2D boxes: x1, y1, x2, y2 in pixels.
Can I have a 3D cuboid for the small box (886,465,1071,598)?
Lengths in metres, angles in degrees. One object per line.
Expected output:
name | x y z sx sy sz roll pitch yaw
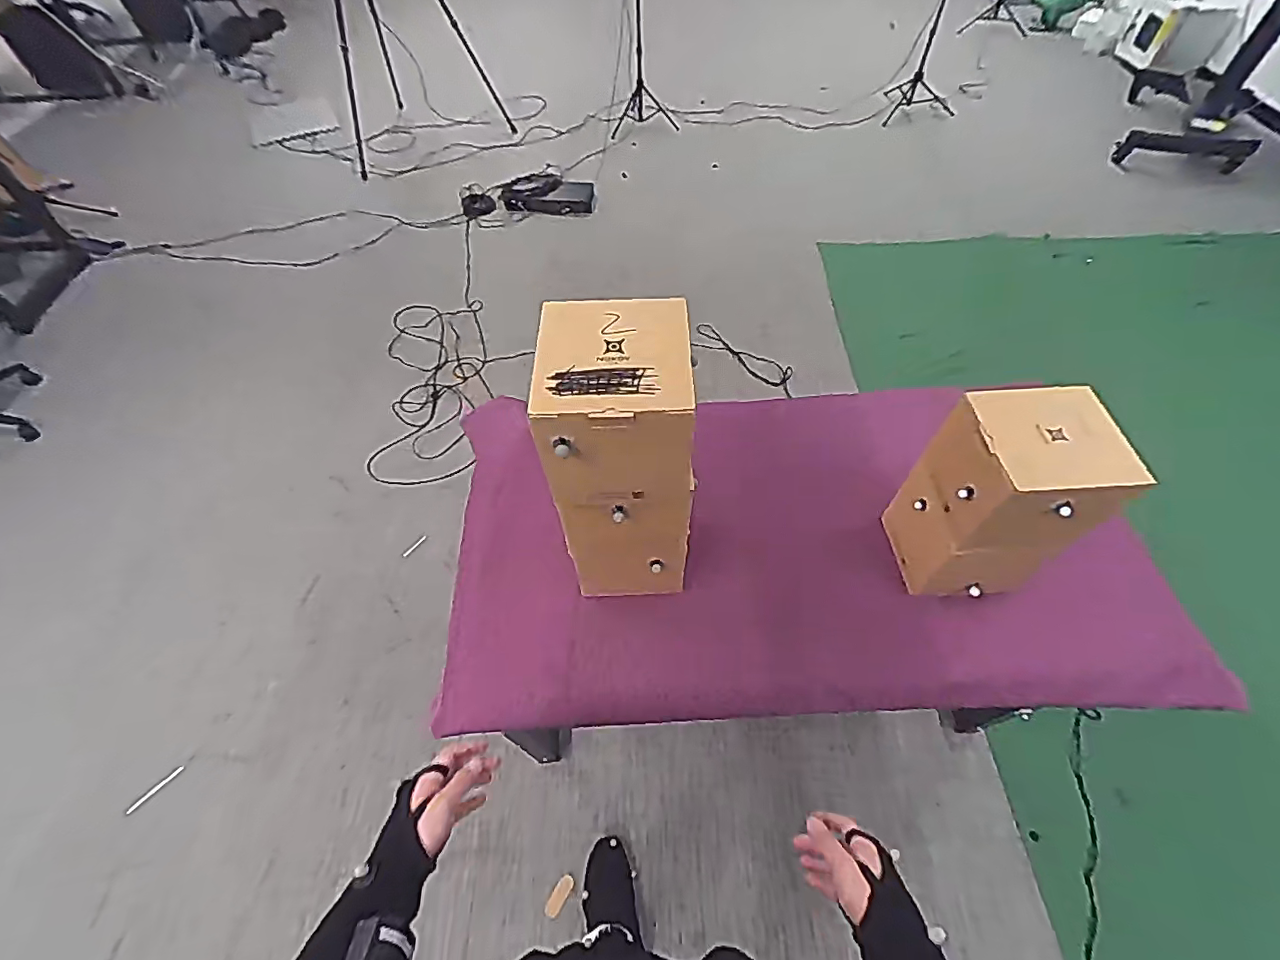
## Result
small box | 0.543 0.085 0.897 0.179 0.176 0.168 -4 55 0

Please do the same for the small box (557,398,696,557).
small box | -0.017 0.001 0.783 0.179 0.176 0.168 -3 56 1

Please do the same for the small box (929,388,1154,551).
small box | 0.537 -0.010 0.763 0.179 0.176 0.168 -3 56 1

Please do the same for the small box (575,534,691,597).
small box | -0.011 0.091 0.918 0.179 0.176 0.168 -3 55 1
